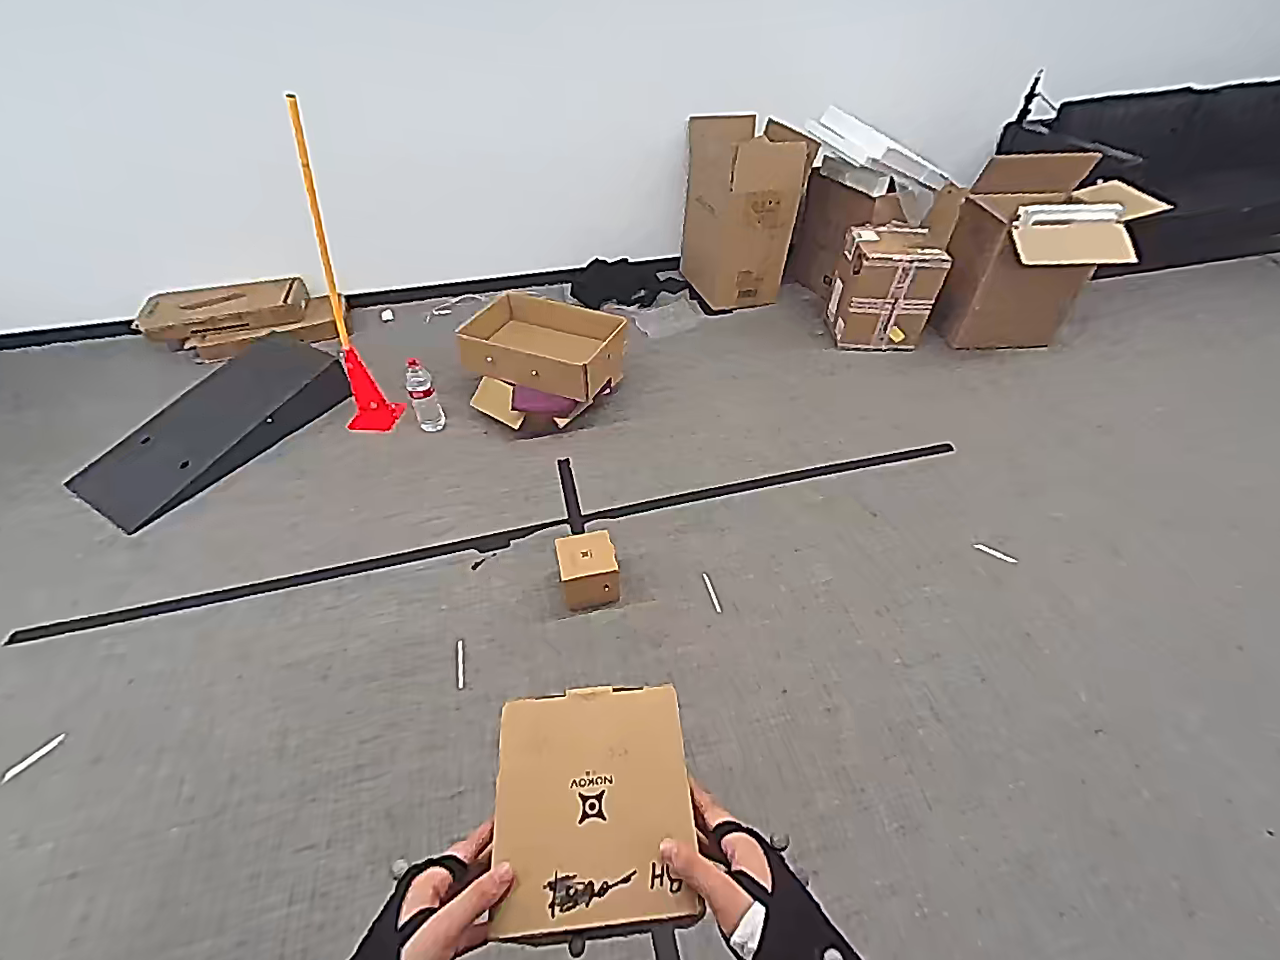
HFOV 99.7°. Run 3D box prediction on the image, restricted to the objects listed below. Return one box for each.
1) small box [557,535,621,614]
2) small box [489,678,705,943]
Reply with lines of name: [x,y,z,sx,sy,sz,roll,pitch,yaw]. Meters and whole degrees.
small box: [-0.161,0.304,1.729,0.179,0.176,0.168,-12,45,-10]
small box: [-0.036,0.316,0.519,0.168,0.176,0.179,-6,47,-2]
